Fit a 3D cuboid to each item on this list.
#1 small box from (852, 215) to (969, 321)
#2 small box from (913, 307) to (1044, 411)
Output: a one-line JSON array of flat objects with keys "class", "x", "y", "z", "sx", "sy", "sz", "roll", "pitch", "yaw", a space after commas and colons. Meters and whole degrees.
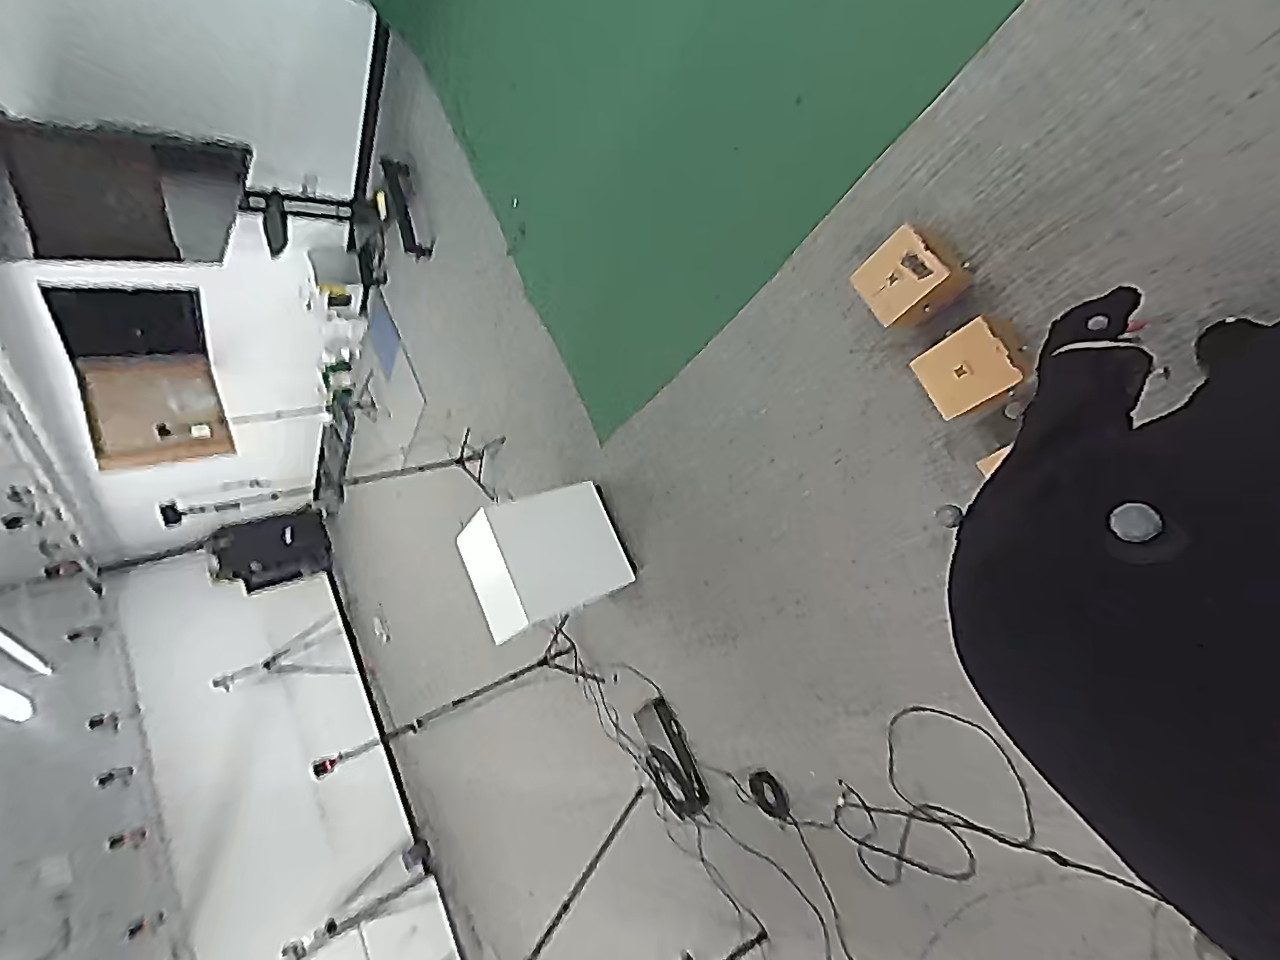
[{"class": "small box", "x": 0.666, "y": -0.510, "z": 1.317, "sx": 0.179, "sy": 0.176, "sz": 0.168, "roll": -45, "pitch": 67, "yaw": 47}, {"class": "small box", "x": 0.783, "y": -0.277, "z": 1.250, "sx": 0.179, "sy": 0.176, "sz": 0.168, "roll": -40, "pitch": 70, "yaw": 47}]
